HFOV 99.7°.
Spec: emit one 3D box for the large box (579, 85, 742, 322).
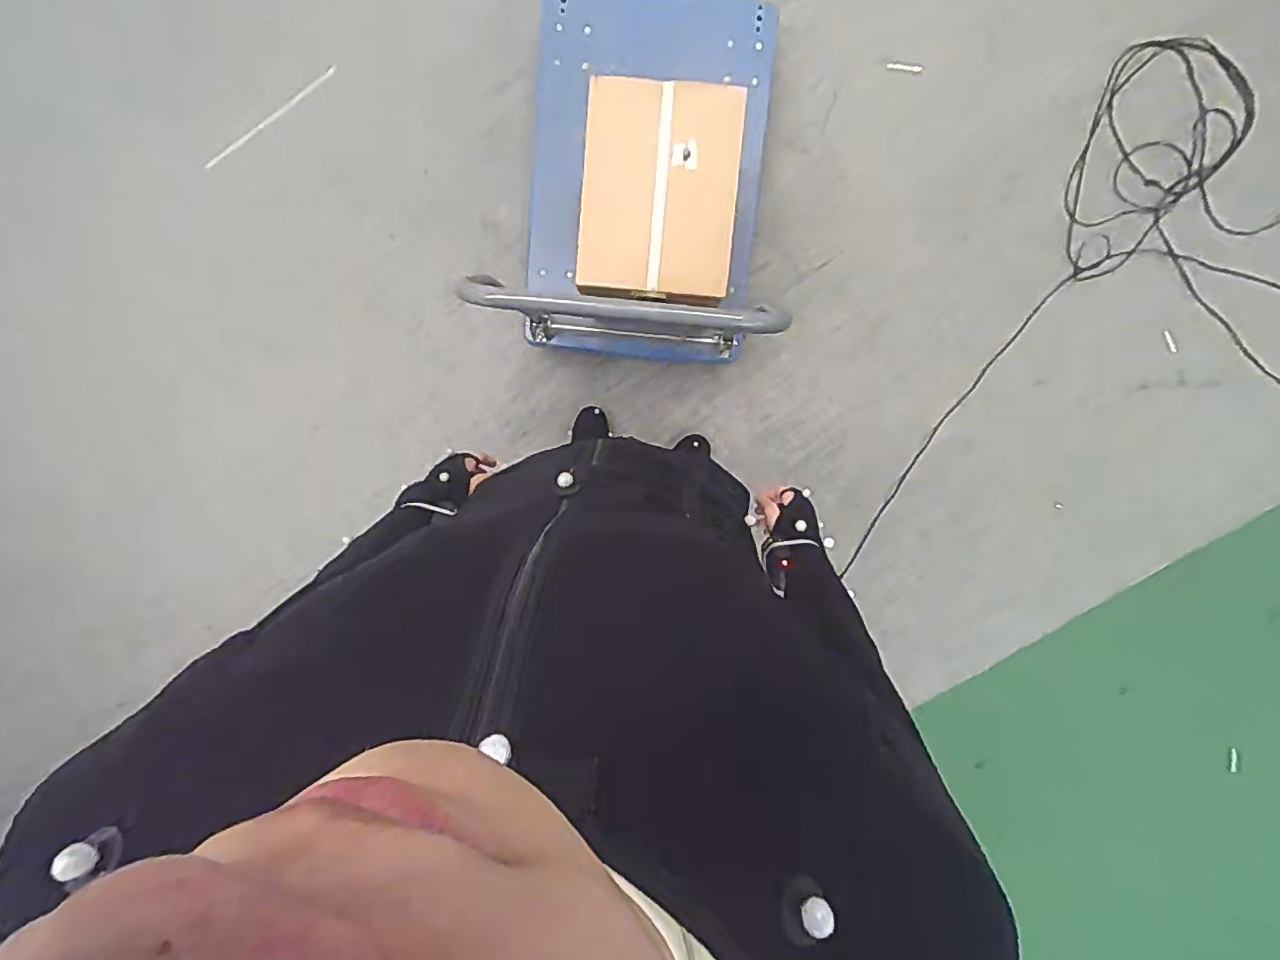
[{"bbox_3d":[0.041,-0.603,1.256,0.320,0.320,0.408,5,96,-1],"label":"large box"}]
